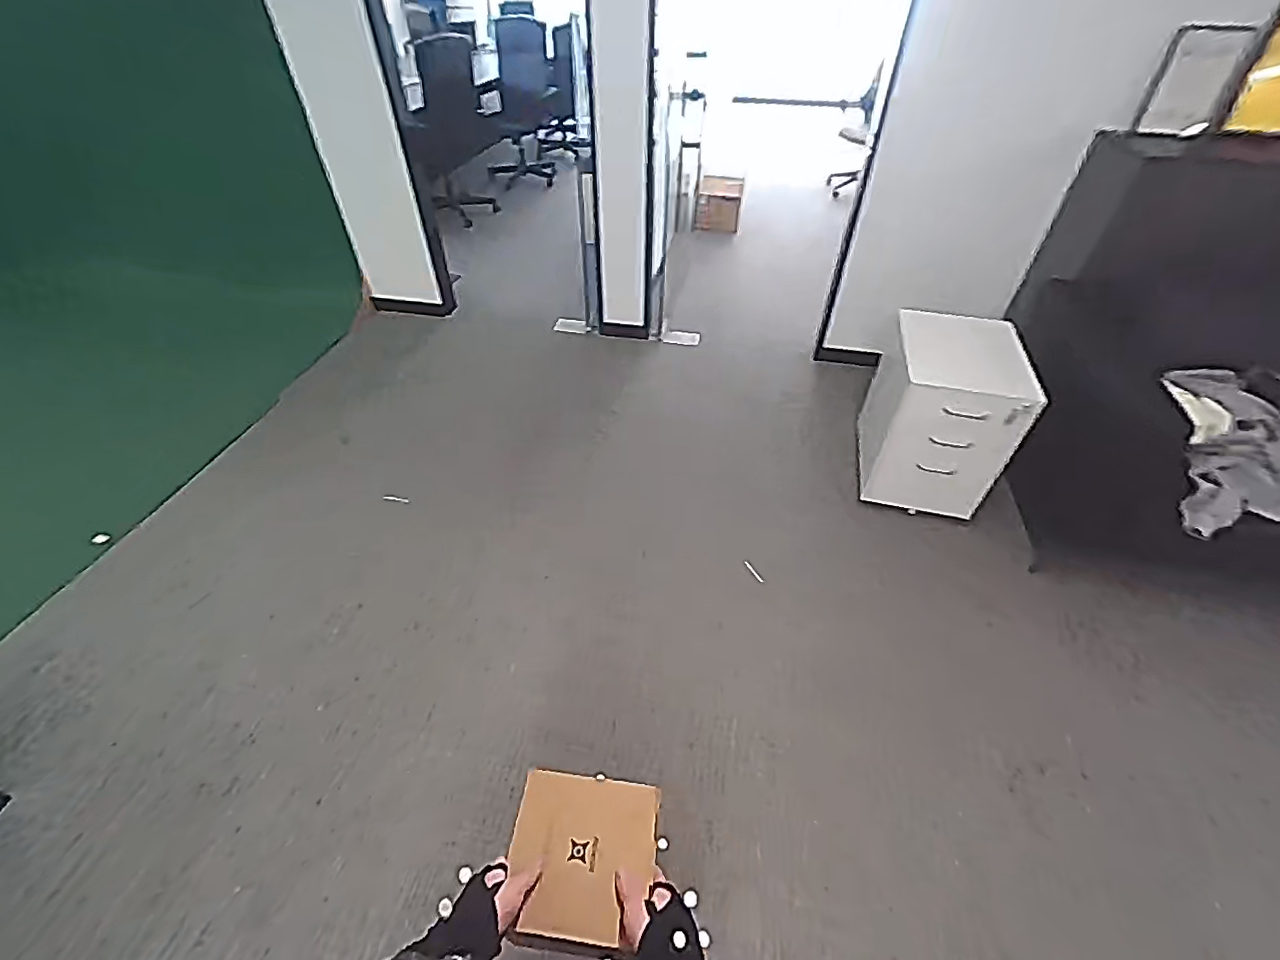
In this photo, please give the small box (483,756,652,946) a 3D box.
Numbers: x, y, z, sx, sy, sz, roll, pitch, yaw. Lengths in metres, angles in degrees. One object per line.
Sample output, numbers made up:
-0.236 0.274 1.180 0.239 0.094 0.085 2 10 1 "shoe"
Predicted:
-0.081 0.490 0.712 0.179 0.176 0.168 5 44 5 "small box"
